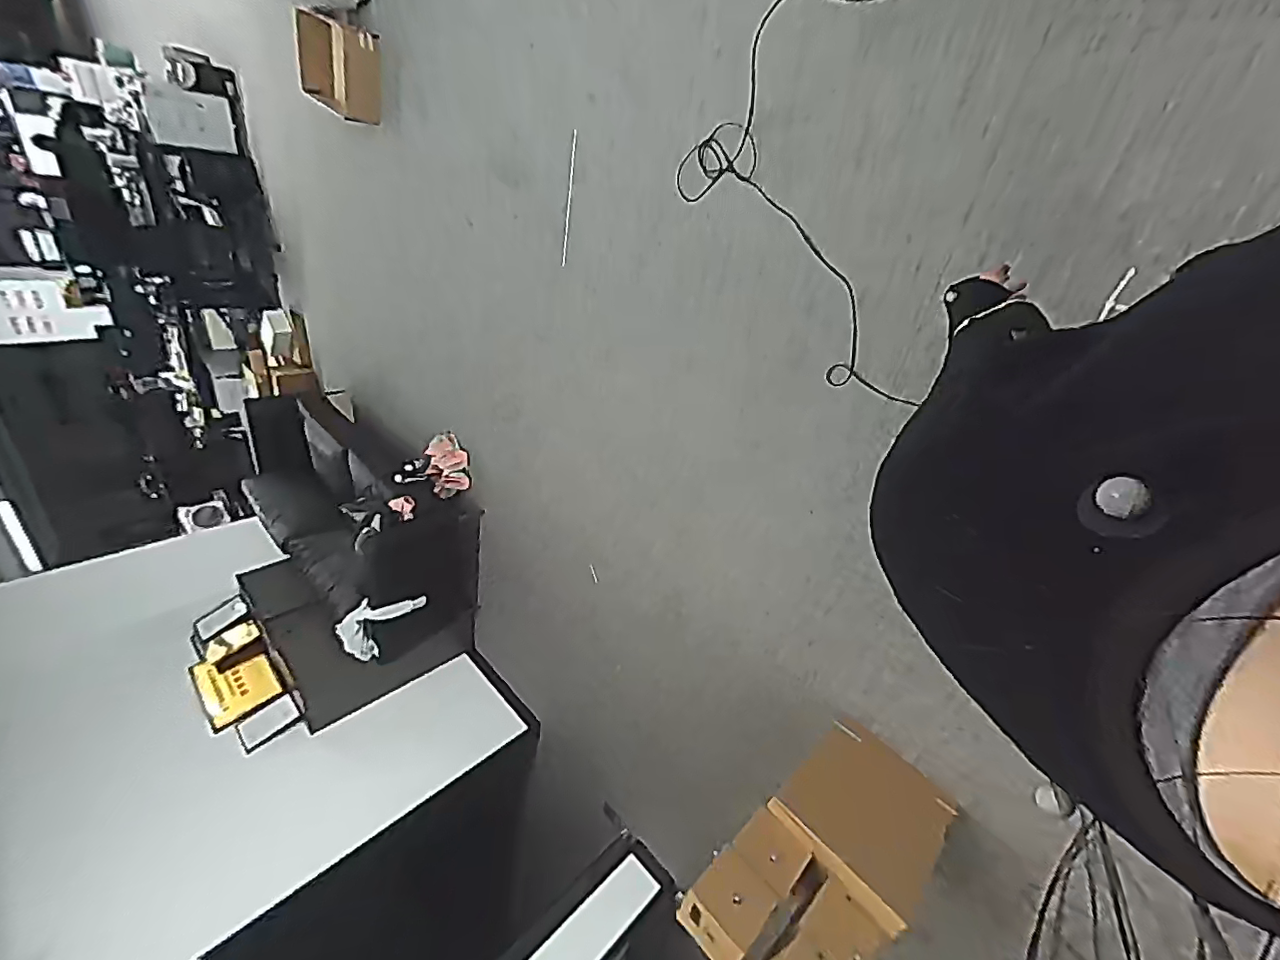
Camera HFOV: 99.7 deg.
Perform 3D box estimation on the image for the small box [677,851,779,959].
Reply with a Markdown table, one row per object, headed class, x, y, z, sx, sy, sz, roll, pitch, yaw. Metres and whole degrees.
| class | x | y | z | sx | sy | sz | roll | pitch | yaw |
| --- | --- | --- | --- | --- | --- | --- | --- | --- | --- |
| small box | 0.228 | 1.117 | 1.410 | 0.179 | 0.176 | 0.168 | 34 | 127 | 31 |
